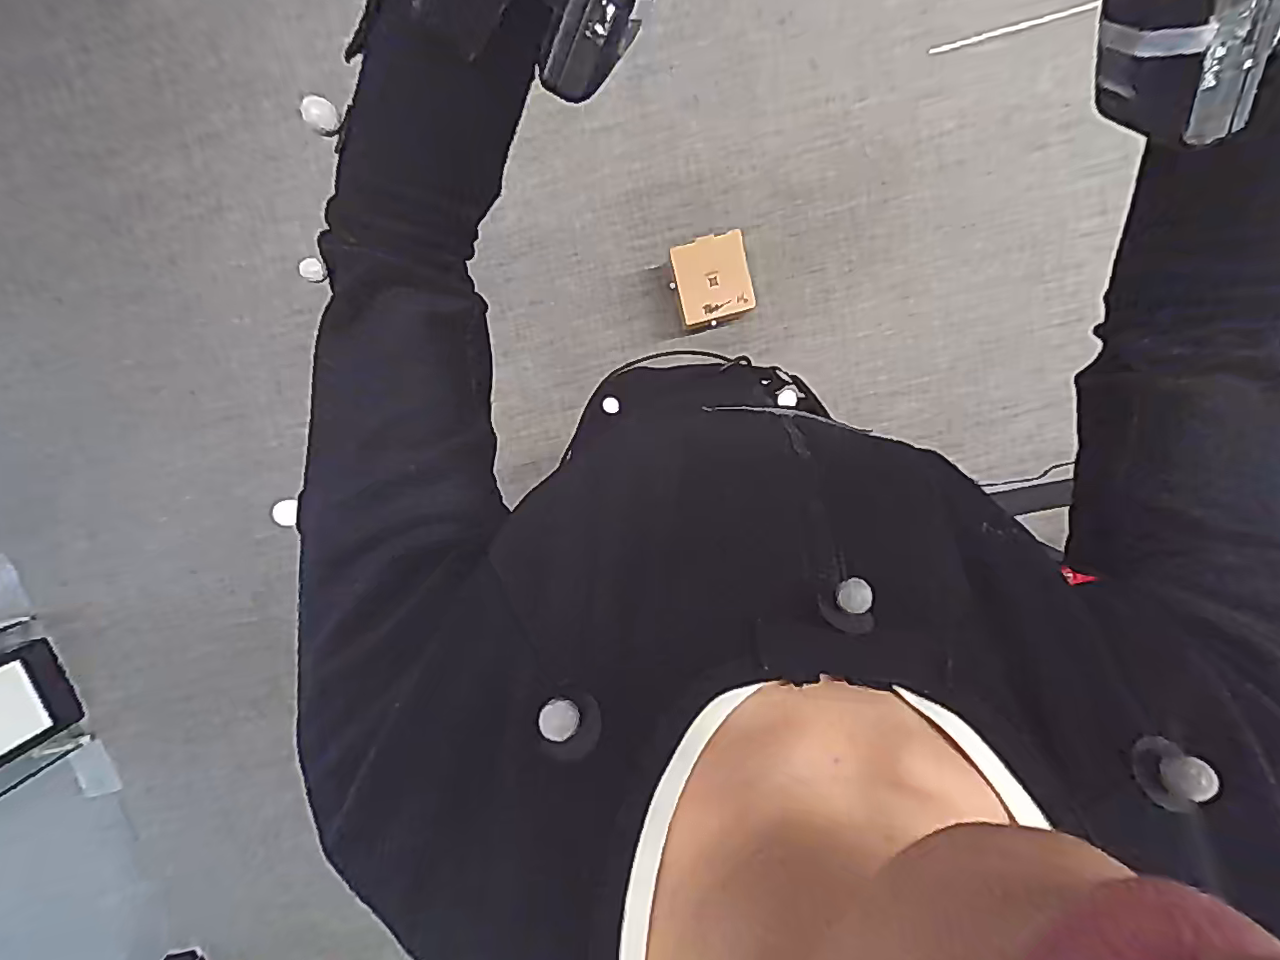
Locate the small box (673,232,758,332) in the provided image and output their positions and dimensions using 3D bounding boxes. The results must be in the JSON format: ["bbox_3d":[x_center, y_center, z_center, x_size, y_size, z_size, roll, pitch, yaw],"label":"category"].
[{"bbox_3d":[0.175,-0.467,1.301,0.168,0.176,0.179,-13,99,5],"label":"small box"}]
